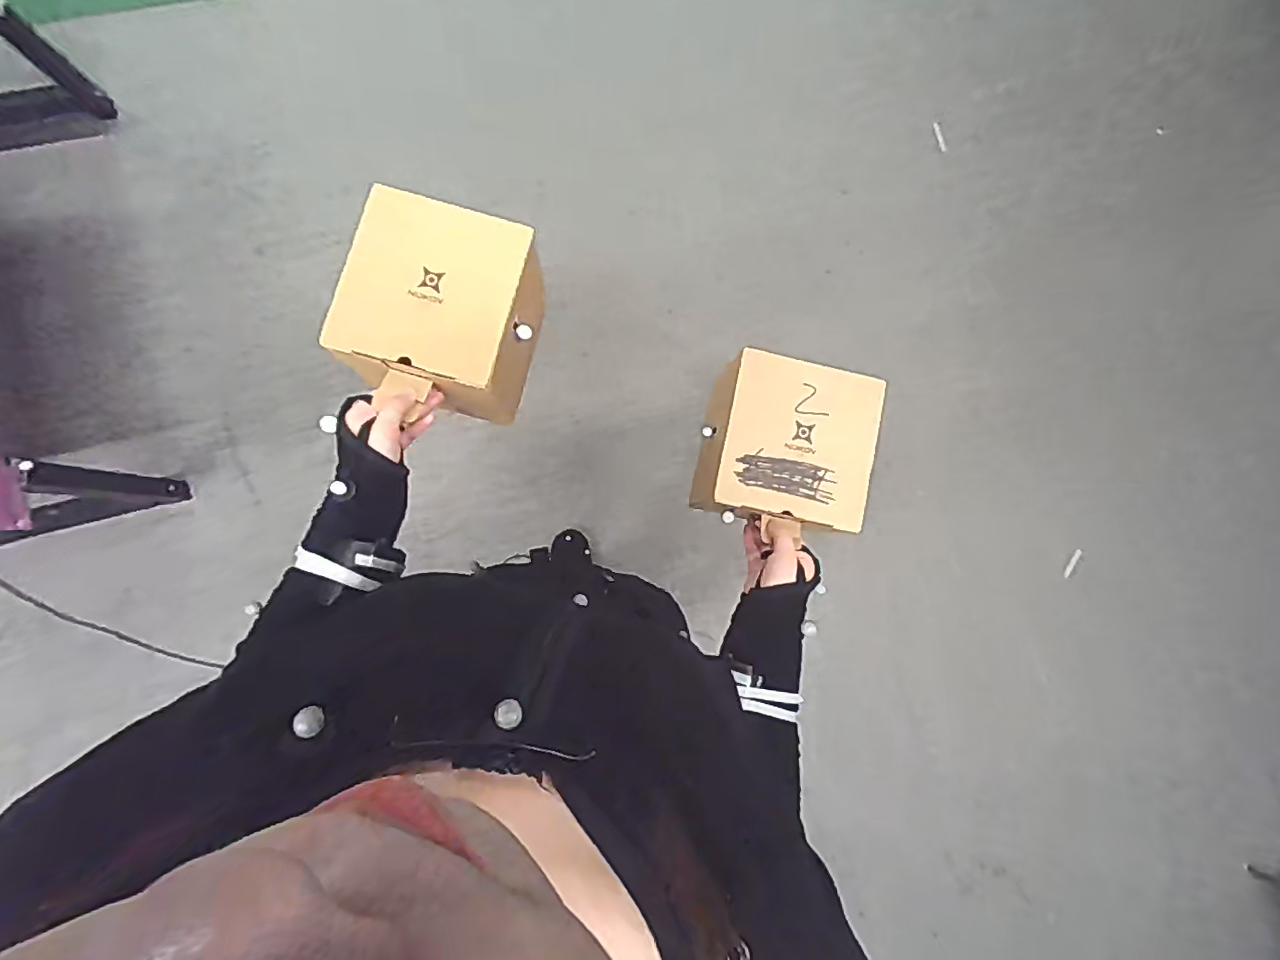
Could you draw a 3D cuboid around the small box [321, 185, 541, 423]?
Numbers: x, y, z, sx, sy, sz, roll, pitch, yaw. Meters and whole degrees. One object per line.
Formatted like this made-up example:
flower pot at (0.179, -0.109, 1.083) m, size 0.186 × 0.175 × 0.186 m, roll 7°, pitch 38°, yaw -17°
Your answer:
small box at (-0.213, -0.181, 0.609) m, size 0.168 × 0.176 × 0.179 m, roll 15°, pitch 83°, yaw -4°
